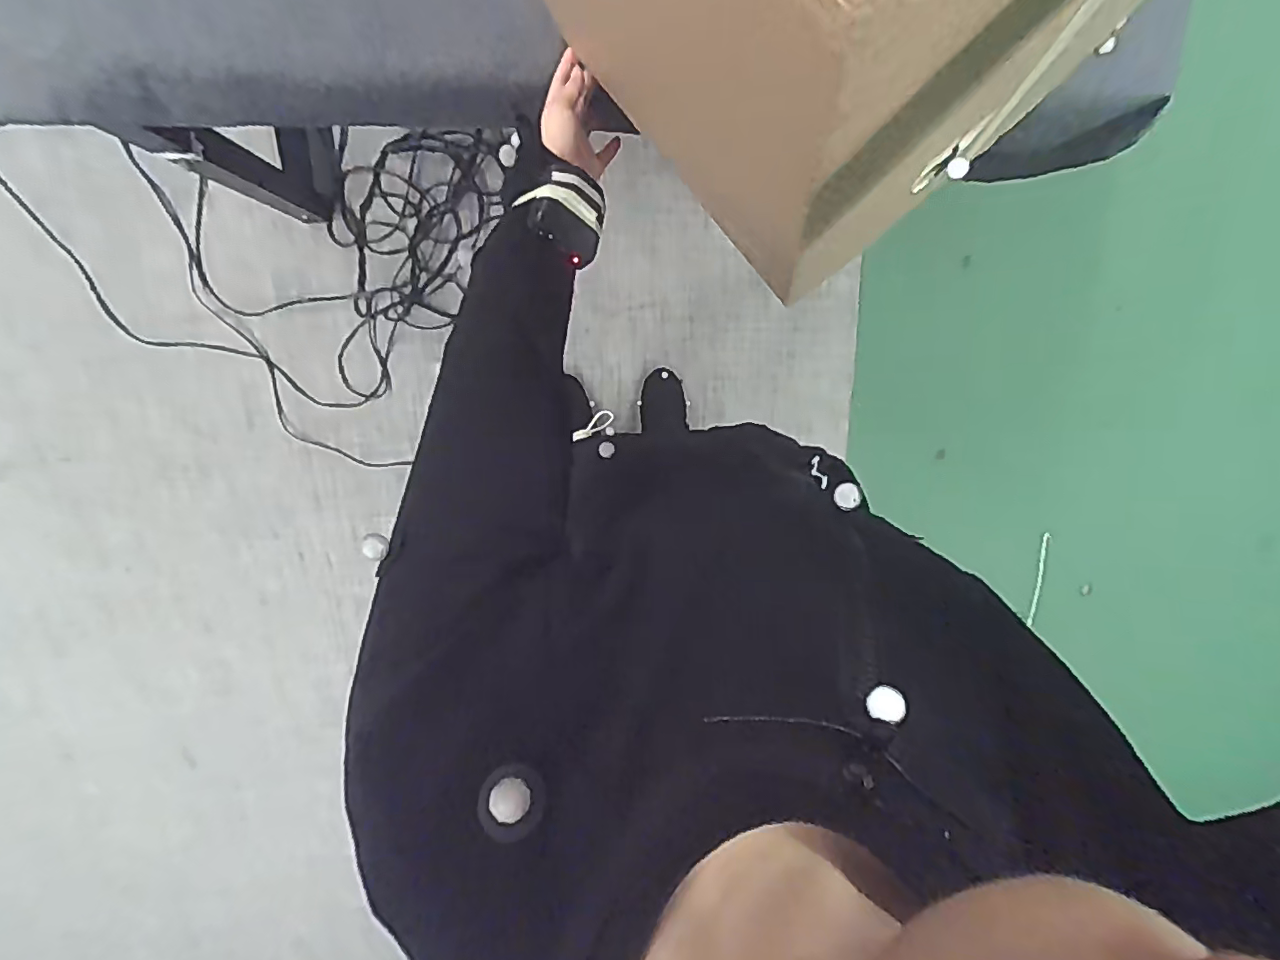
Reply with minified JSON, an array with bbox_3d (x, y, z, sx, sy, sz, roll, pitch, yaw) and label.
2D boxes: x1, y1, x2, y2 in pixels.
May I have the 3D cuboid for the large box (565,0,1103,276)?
[{"bbox_3d":[0.108,-0.359,0.266,0.320,0.408,0.320,-39,90,16],"label":"large box"}]
